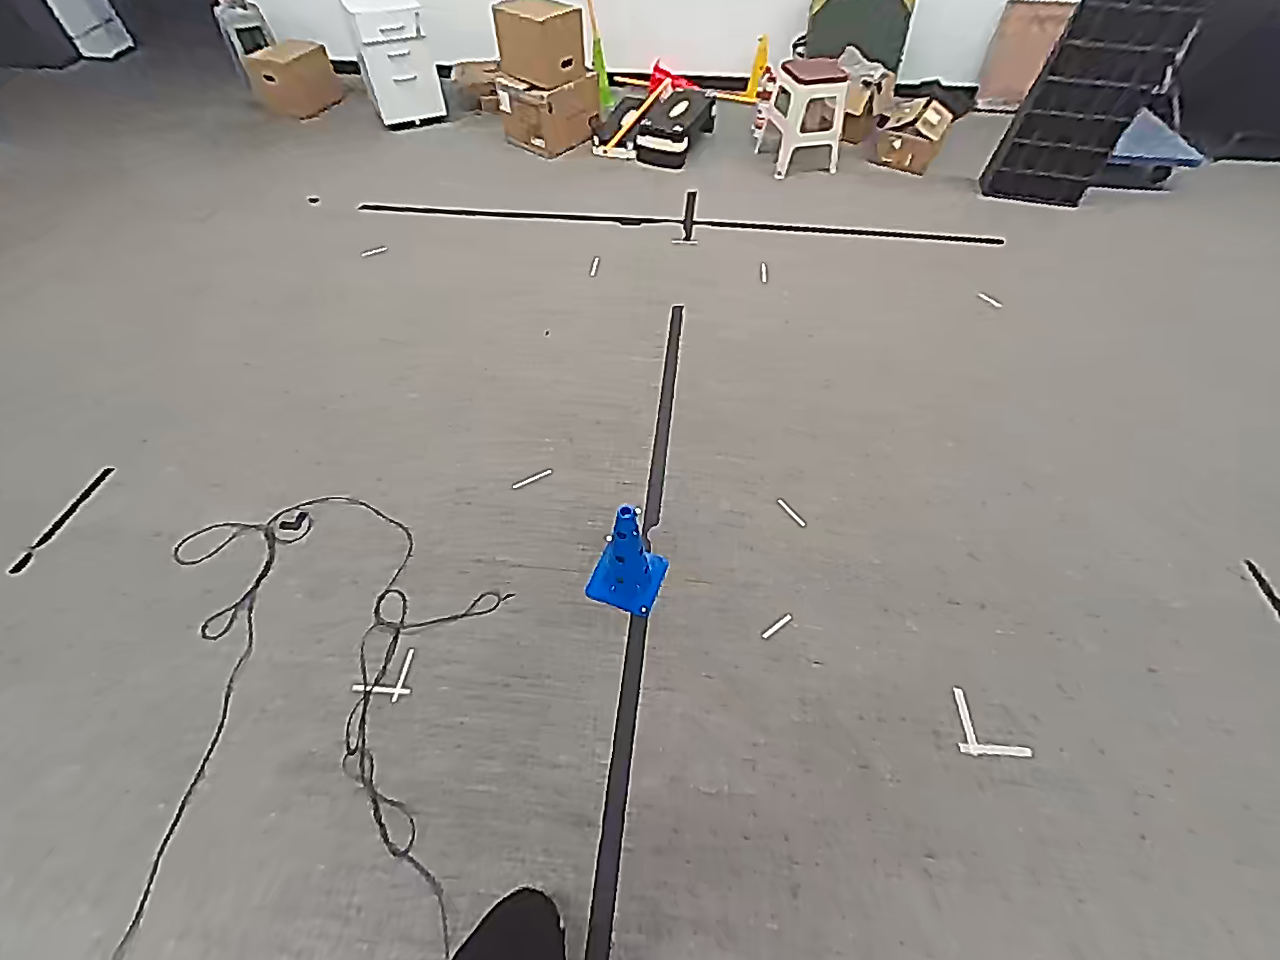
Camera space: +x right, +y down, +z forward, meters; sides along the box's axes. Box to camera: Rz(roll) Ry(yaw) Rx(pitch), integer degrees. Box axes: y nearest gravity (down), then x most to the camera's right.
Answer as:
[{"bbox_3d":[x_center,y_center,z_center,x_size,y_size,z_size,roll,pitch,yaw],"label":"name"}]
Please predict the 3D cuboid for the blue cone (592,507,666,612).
[{"bbox_3d":[-0.029,0.188,1.471,0.192,0.380,0.193,20,55,12],"label":"blue cone"}]
